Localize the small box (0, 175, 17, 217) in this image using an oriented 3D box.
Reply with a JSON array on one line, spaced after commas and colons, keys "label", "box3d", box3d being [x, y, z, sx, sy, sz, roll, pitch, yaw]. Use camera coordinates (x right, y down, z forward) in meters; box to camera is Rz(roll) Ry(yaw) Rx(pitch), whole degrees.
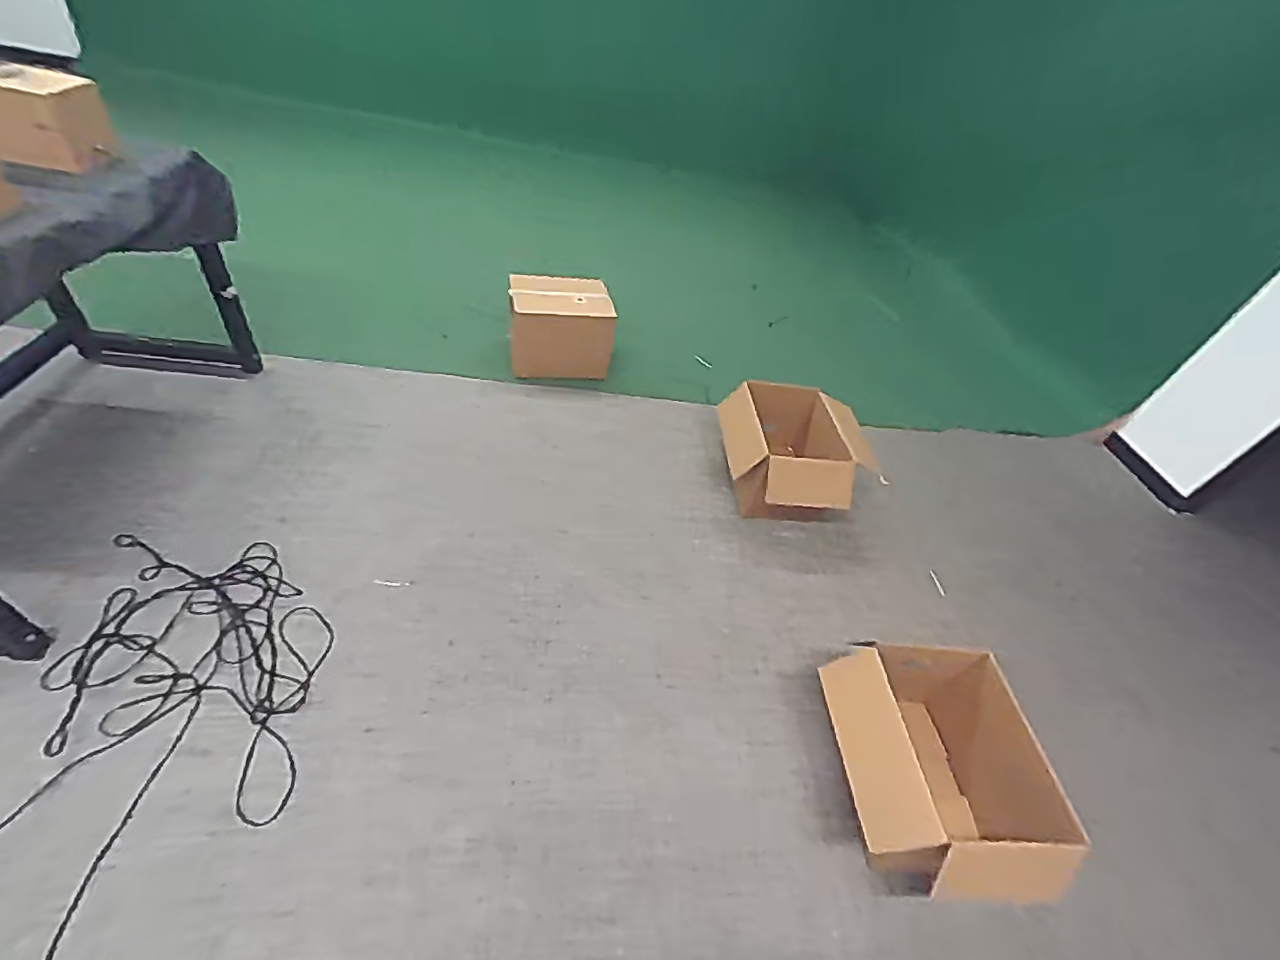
[{"label": "small box", "box3d": [-1.395, -0.594, 1.042, 0.168, 0.176, 0.179, 5, 44, -9]}]
